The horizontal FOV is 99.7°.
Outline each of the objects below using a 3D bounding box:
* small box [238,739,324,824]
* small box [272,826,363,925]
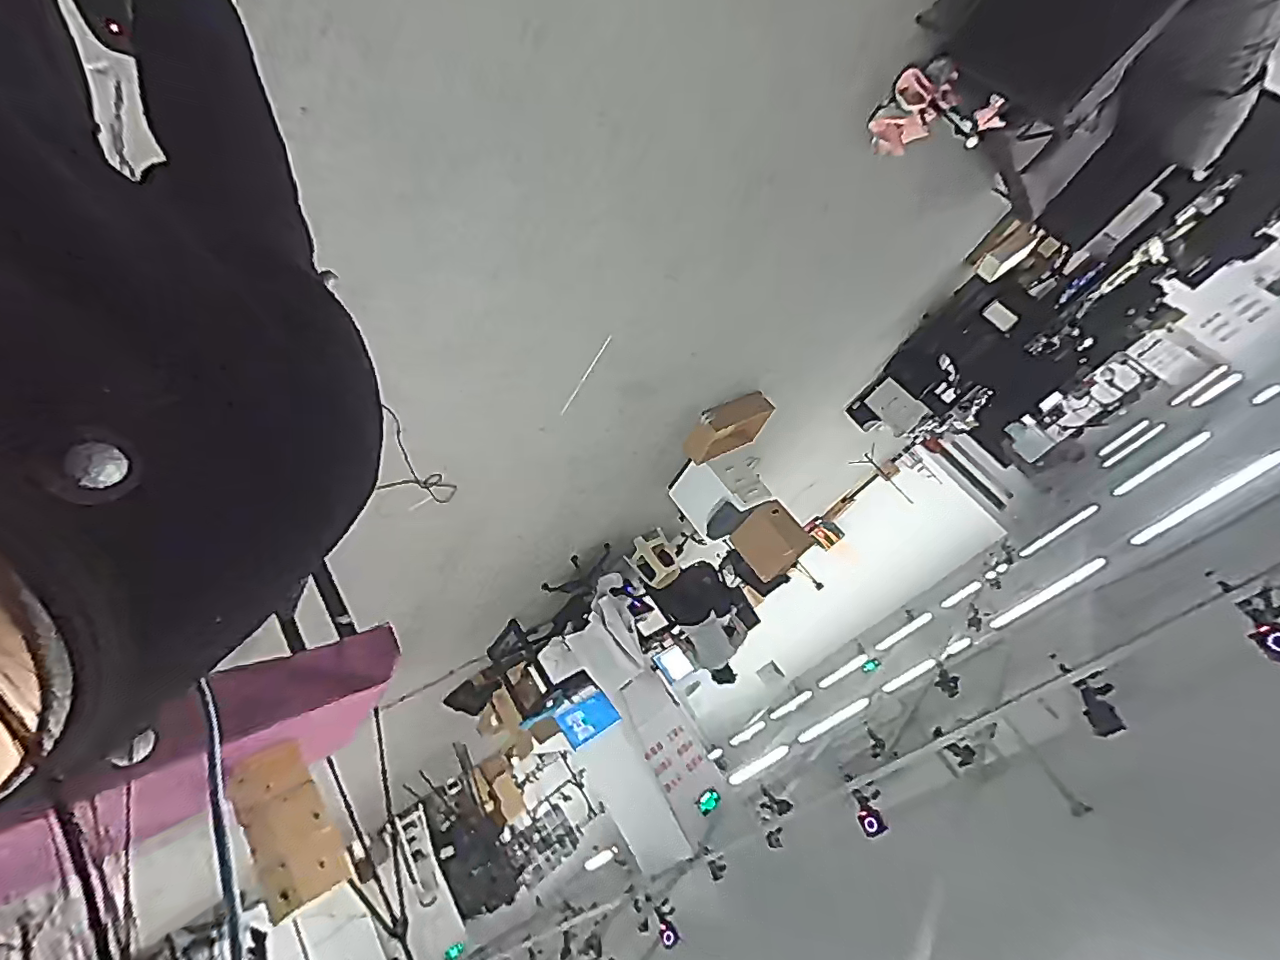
[{"bbox_3d":[-1.244,1.032,1.868,0.168,0.176,0.179,-46,157,21],"label":"small box"},{"bbox_3d":[-1.057,1.283,1.767,0.168,0.176,0.179,-42,159,14],"label":"small box"}]
